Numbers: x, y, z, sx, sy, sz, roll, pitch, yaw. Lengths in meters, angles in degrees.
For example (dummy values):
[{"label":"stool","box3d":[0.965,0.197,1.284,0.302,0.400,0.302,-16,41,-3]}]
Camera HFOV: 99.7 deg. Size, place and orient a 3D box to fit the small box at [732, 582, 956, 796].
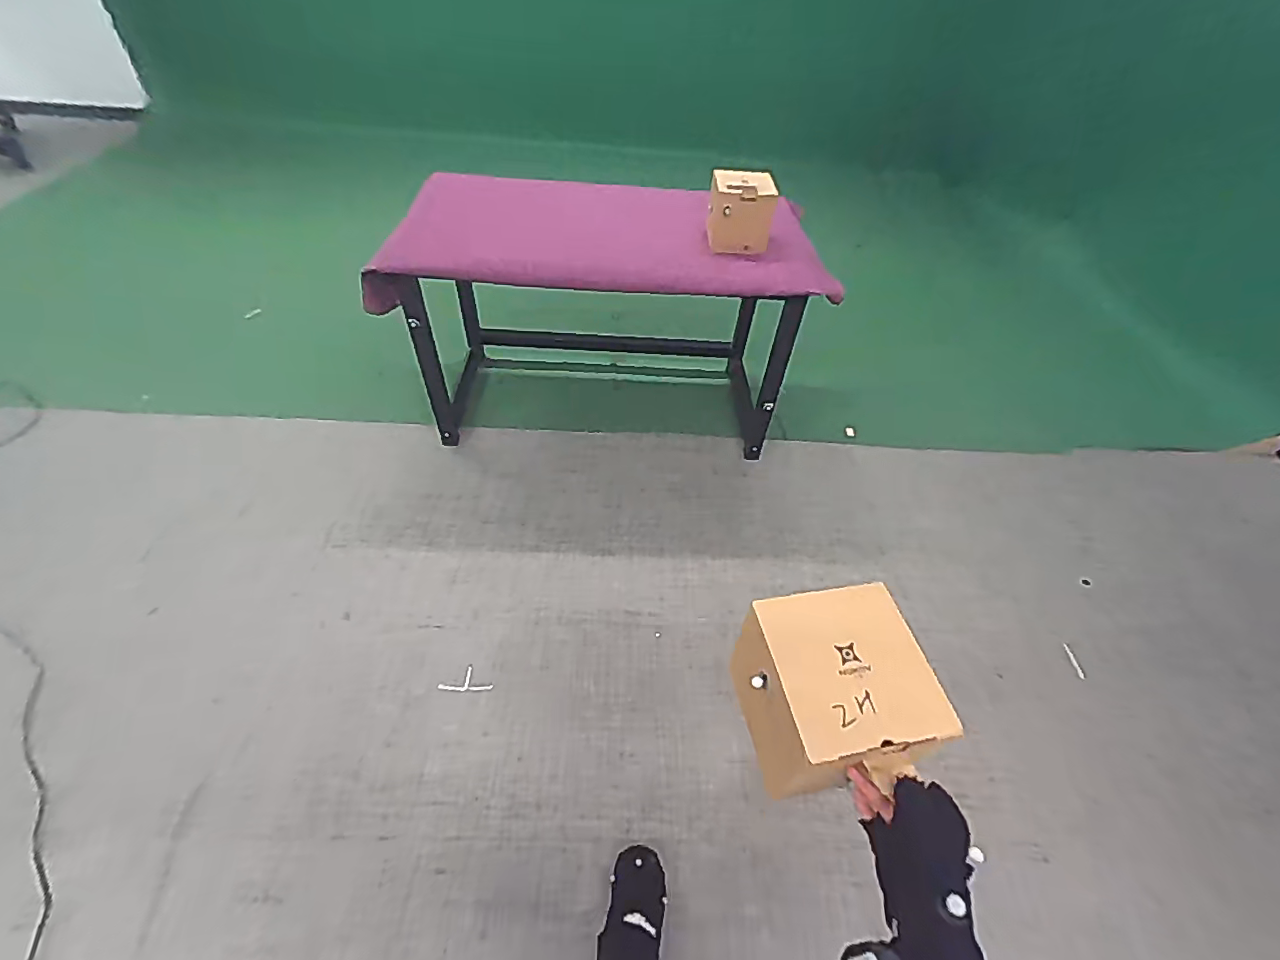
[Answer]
[{"label":"small box","box3d":[0.218,0.247,0.641,0.168,0.176,0.179,-7,49,-8]}]
